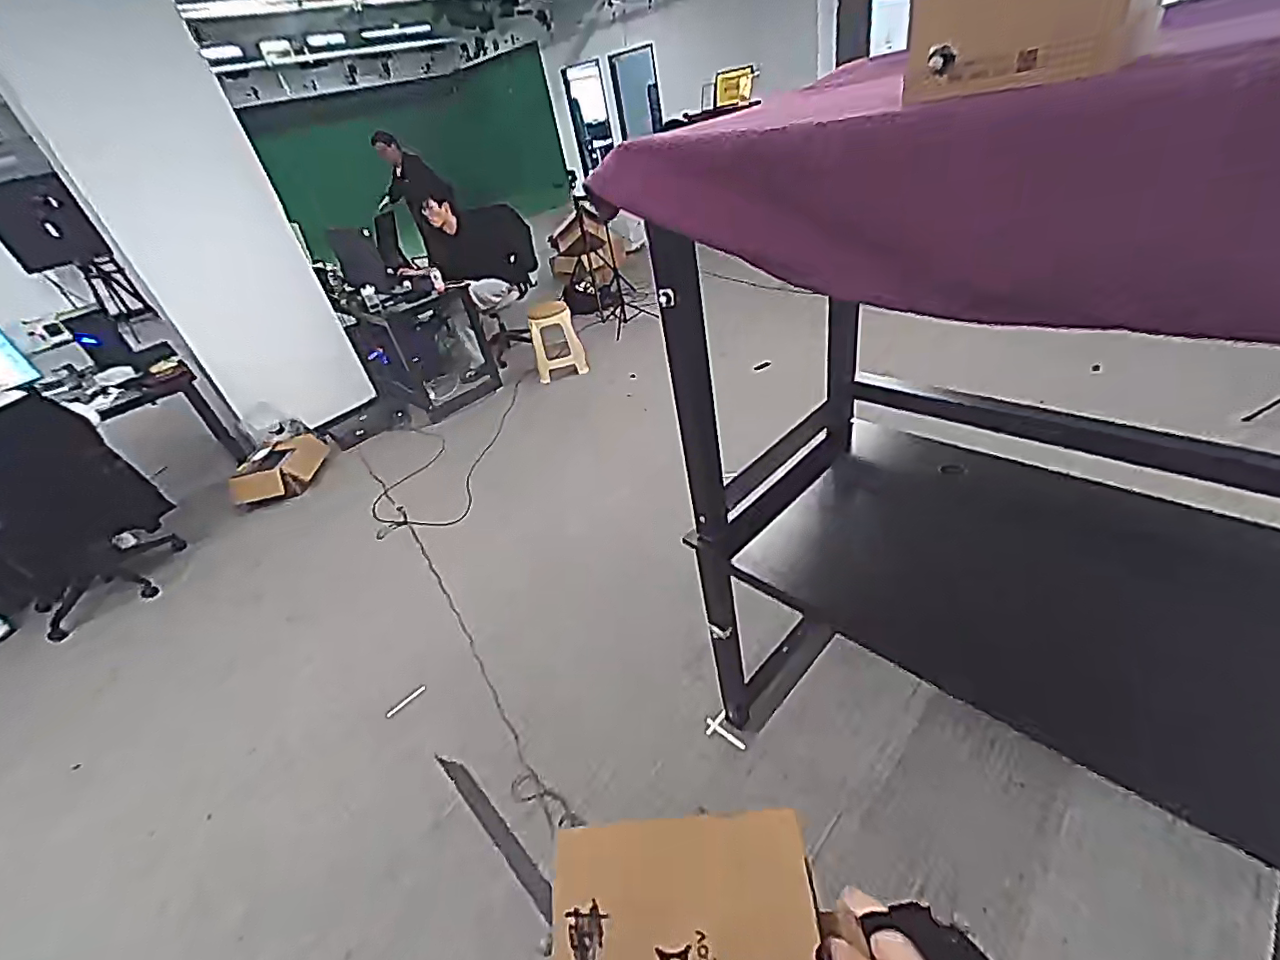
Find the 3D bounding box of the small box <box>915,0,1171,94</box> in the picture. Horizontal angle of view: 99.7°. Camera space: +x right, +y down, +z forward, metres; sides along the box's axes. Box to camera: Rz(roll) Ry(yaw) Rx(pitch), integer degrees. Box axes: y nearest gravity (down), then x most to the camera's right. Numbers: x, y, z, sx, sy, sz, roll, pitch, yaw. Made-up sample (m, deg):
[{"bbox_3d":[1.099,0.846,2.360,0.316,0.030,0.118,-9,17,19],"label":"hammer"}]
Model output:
[{"bbox_3d":[0.354,-0.449,0.463,0.168,0.176,0.179,23,47,40],"label":"small box"}]
